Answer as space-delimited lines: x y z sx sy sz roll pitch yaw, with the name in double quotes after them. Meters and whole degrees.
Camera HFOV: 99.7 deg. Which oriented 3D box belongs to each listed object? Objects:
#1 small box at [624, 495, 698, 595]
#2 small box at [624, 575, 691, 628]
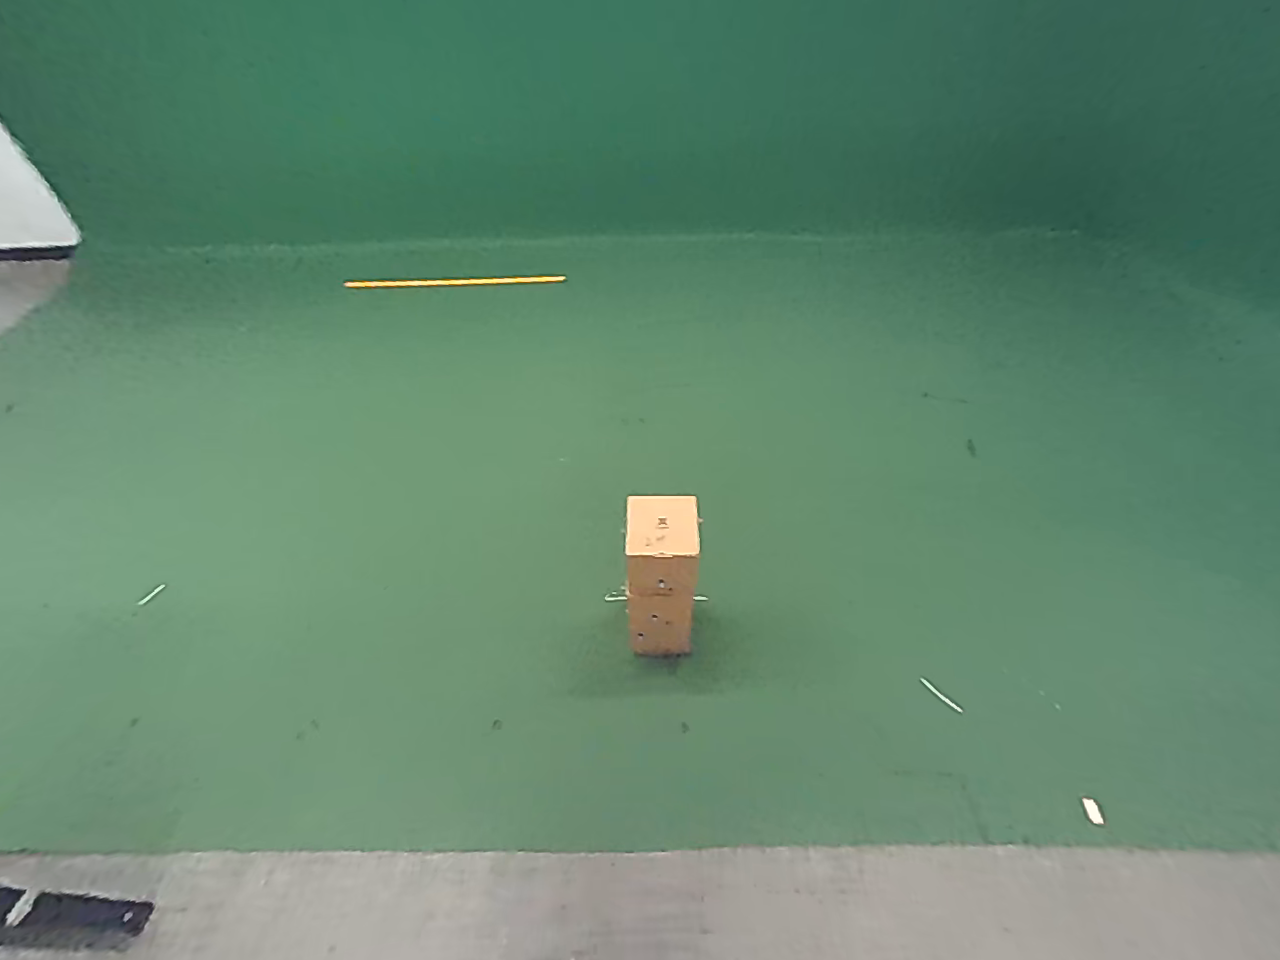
0.048 0.156 1.307 0.168 0.176 0.179 0 48 1 "small box"
0.043 0.272 1.426 0.168 0.176 0.179 0 48 0 "small box"
